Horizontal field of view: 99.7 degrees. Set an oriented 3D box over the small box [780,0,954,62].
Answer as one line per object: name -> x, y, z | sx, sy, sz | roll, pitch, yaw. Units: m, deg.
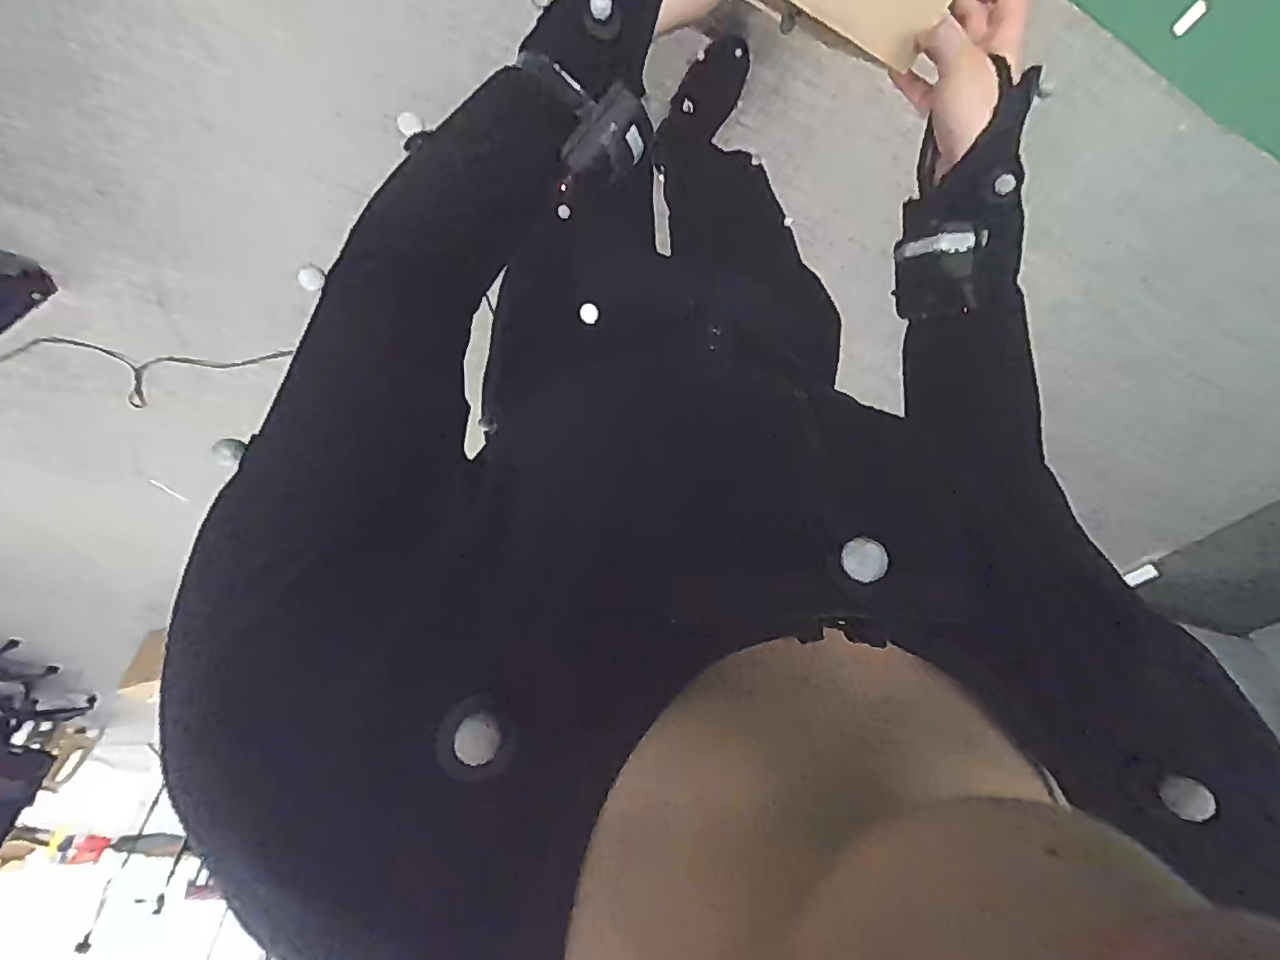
small box -> 0.154, -0.446, 0.388 | 0.179, 0.176, 0.168 | 12, 133, -21
